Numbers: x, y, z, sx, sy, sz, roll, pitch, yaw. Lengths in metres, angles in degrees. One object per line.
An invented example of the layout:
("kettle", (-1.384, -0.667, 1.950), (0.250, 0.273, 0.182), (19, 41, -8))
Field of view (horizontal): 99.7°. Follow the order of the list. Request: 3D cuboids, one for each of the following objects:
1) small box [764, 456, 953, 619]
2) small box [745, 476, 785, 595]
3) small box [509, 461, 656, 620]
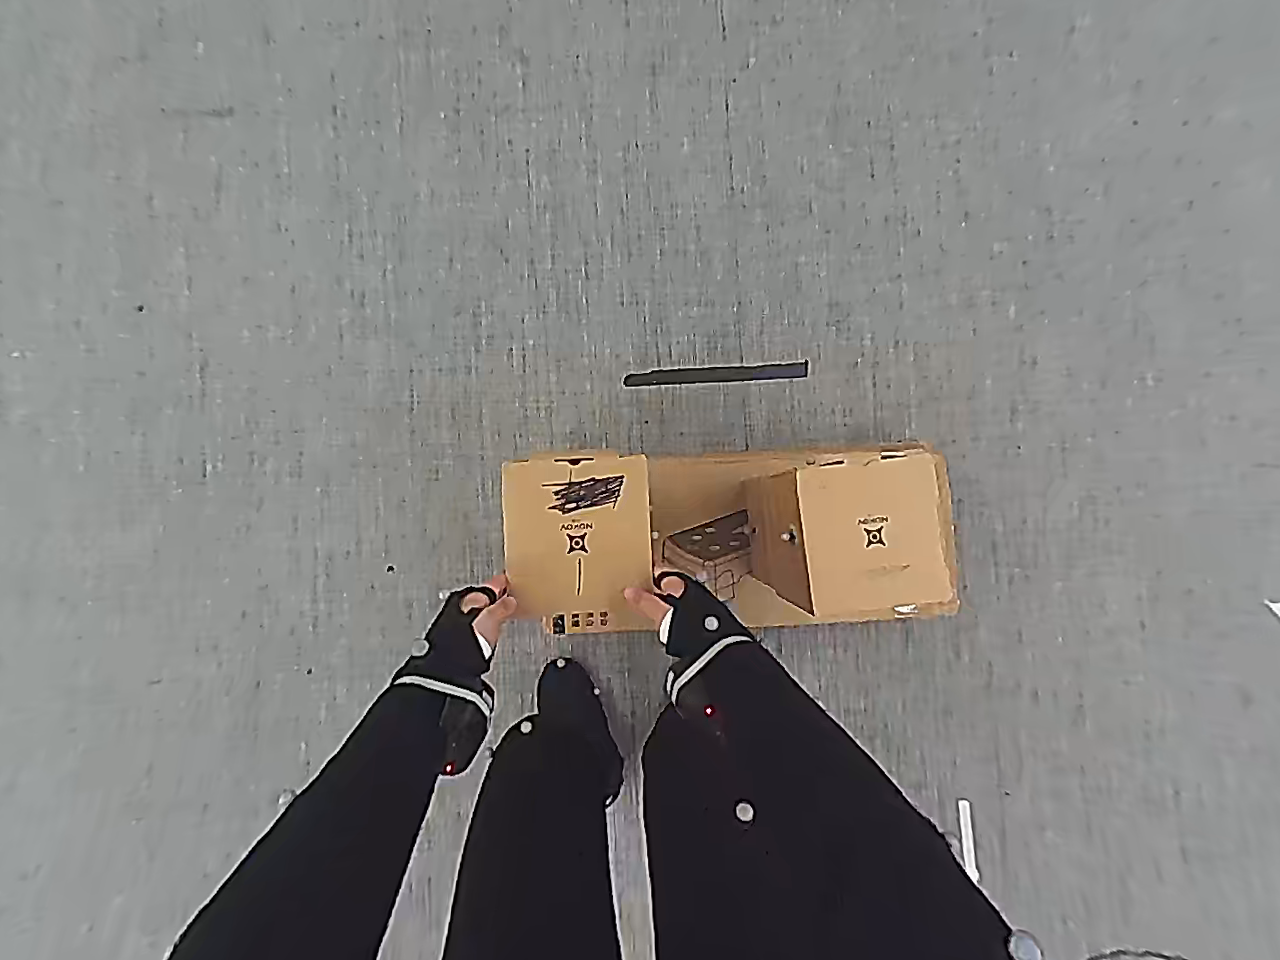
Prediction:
("small box", (0.269, 0.071, 0.707), (0.168, 0.176, 0.179), (-7, 88, -1))
("small box", (0.273, 0.078, 0.869), (0.168, 0.176, 0.179), (-4, 88, -3))
("small box", (-0.070, 0.073, 0.686), (0.168, 0.176, 0.179), (-1, 86, -4))
